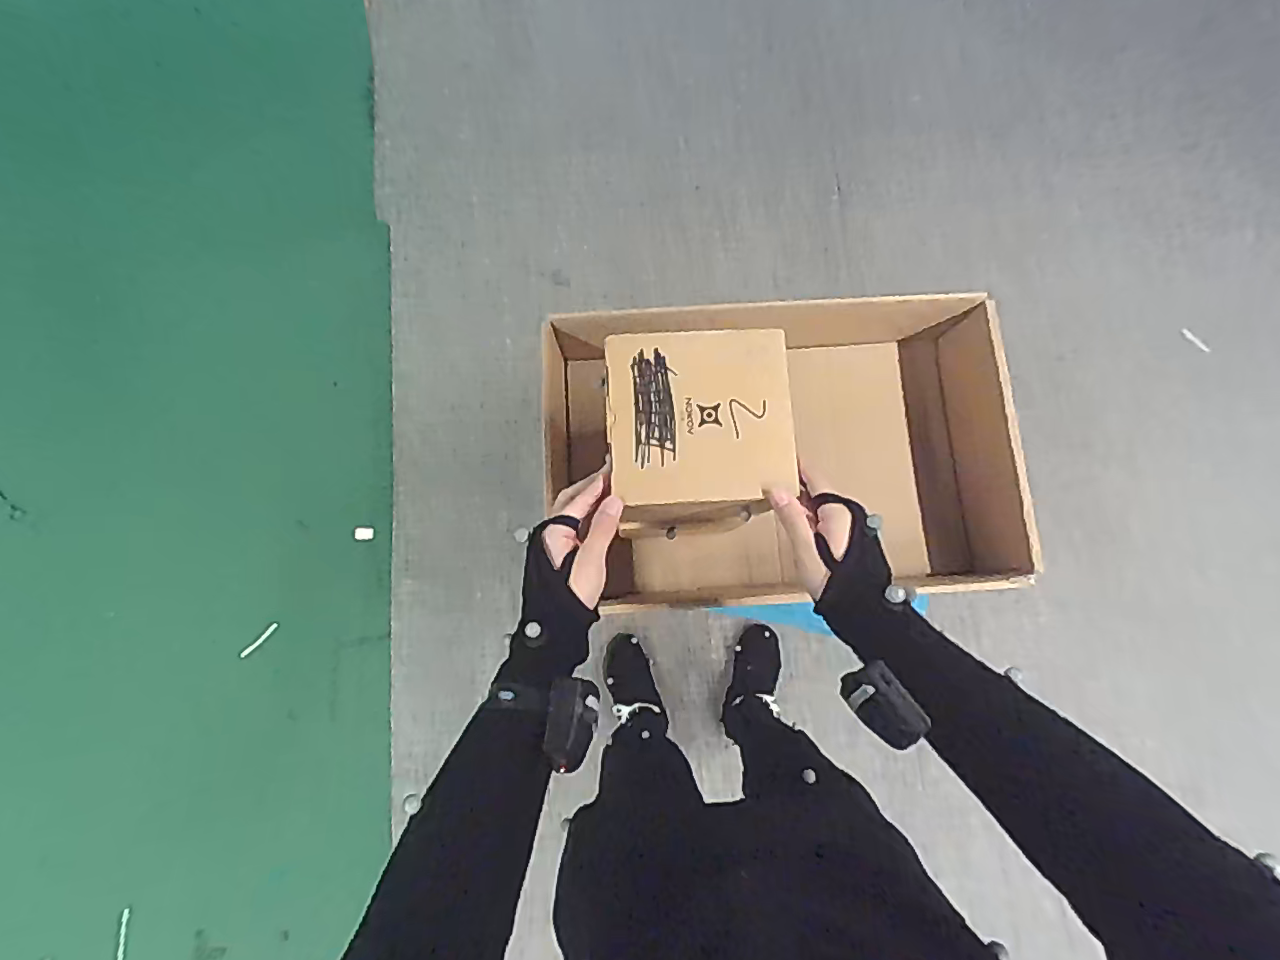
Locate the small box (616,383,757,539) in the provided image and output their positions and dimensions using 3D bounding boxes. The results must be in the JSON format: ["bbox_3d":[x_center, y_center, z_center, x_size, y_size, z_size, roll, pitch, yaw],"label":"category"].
[{"bbox_3d":[0.053,-0.018,0.742,0.168,0.176,0.179,-4,79,-1],"label":"small box"}]
